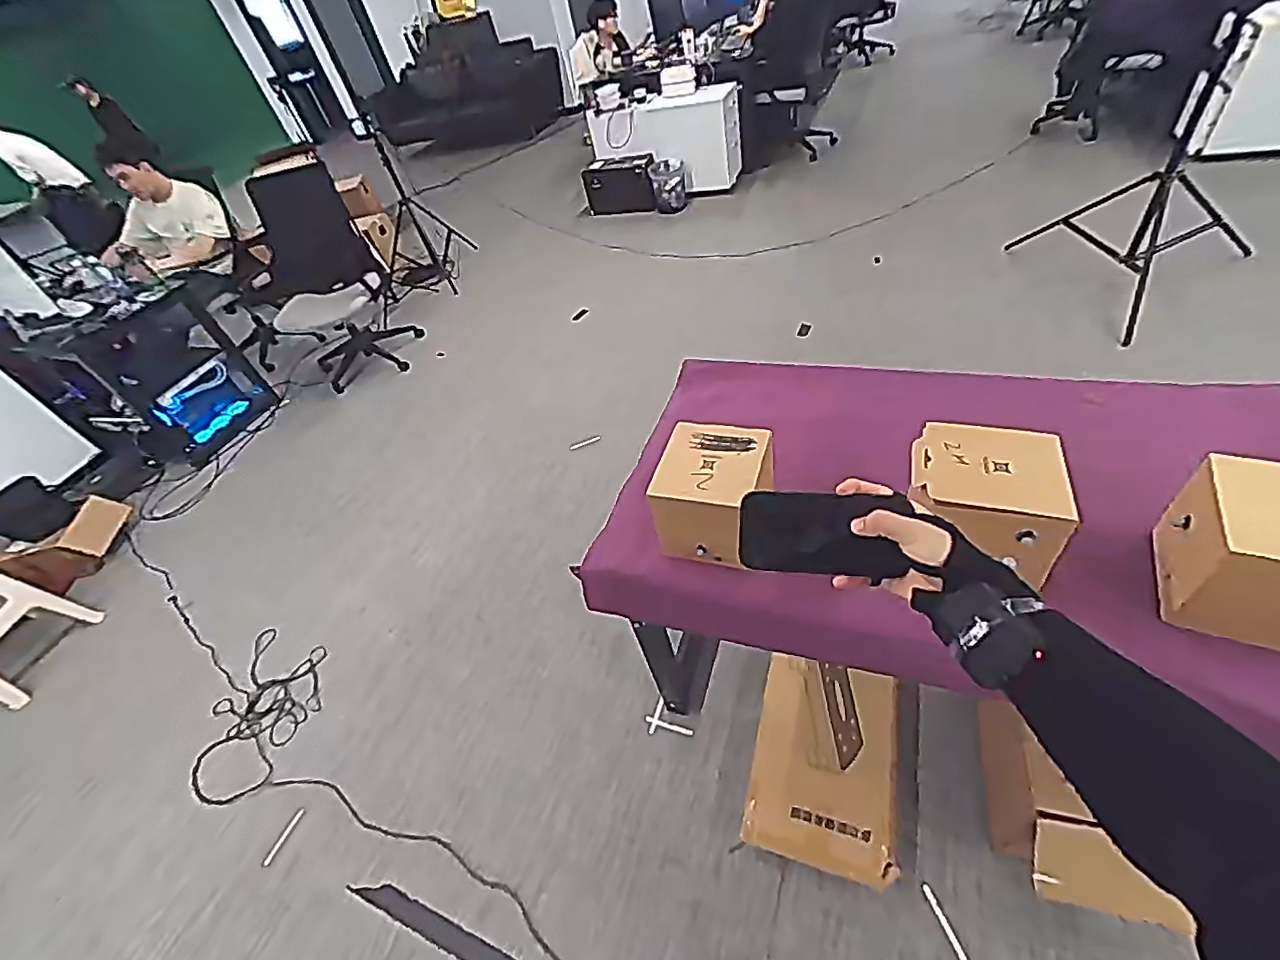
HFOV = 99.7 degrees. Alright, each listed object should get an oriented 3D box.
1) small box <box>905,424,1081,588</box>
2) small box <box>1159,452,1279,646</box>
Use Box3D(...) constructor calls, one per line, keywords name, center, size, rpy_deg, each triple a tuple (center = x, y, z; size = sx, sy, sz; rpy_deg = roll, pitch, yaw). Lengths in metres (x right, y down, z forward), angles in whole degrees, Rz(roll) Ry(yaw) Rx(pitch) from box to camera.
Box3D(name="small box", center=(0.505, 0.039, 0.800), size=(0.179, 0.176, 0.168), rpy_deg=(7, 47, 21))
Box3D(name="small box", center=(0.791, 0.092, 0.671), size=(0.179, 0.176, 0.168), rpy_deg=(13, 52, 25))
